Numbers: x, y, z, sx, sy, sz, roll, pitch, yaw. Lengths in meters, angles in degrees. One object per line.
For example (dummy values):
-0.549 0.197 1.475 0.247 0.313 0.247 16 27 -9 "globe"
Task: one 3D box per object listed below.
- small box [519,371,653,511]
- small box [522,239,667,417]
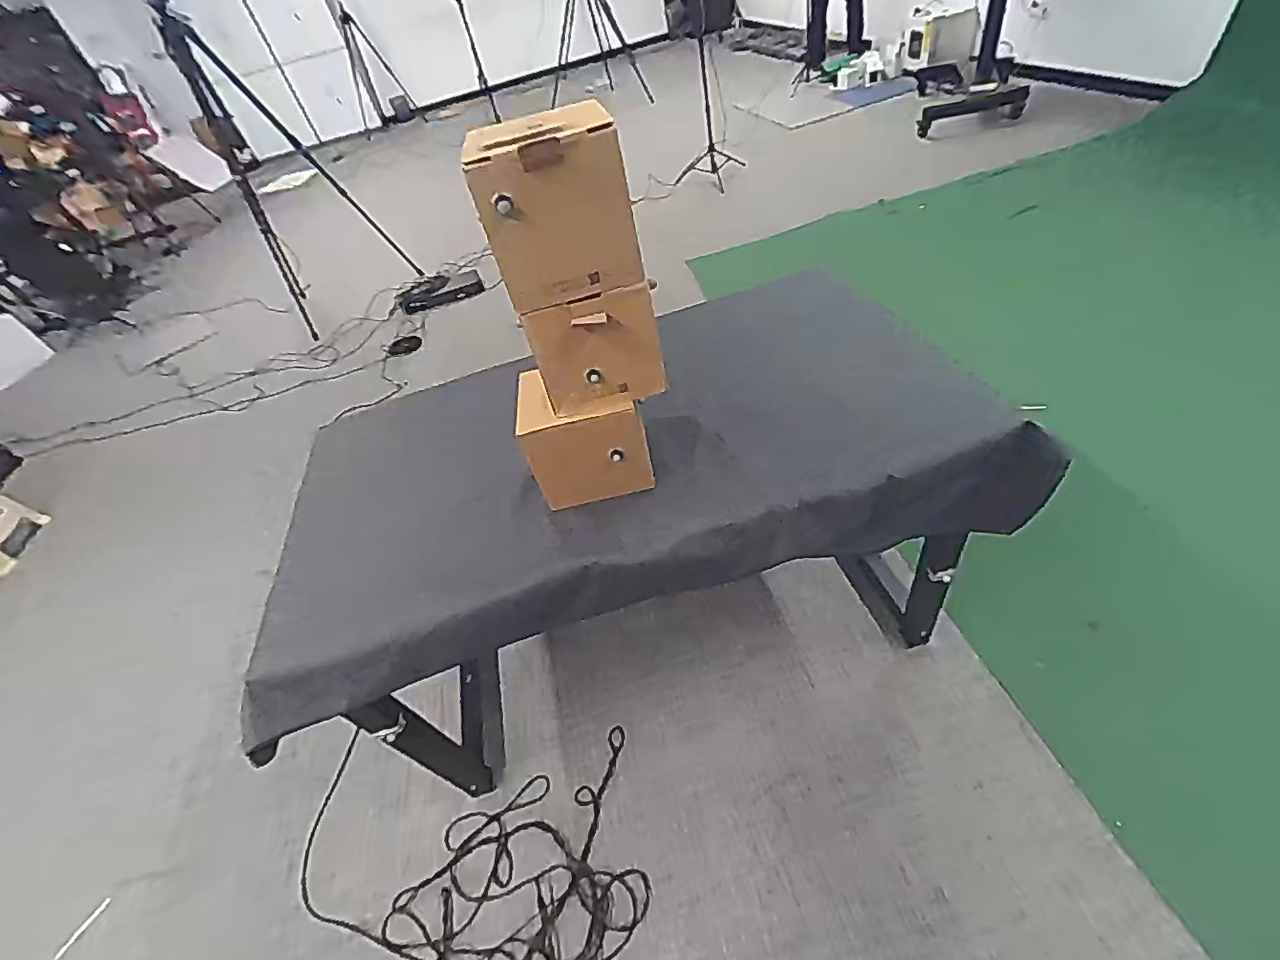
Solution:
-0.080 -0.075 0.873 0.179 0.176 0.168 -14 43 4 "small box"
-0.064 -0.218 0.779 0.168 0.176 0.179 -14 44 1 "small box"
